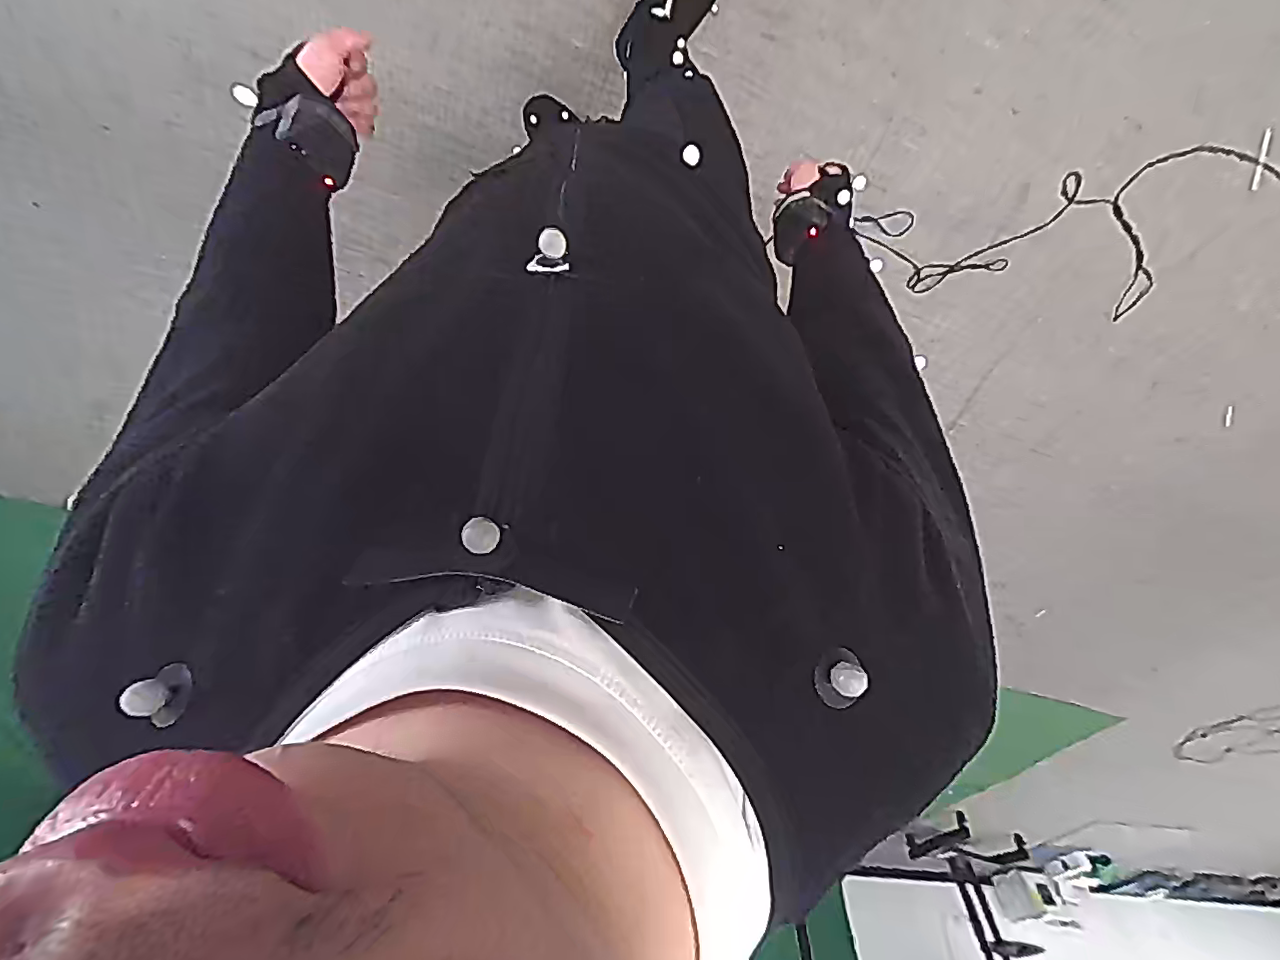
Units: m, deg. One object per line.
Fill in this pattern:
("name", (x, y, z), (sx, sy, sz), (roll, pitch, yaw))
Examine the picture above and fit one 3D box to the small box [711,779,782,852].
("small box", (0.348, 1.127, 1.818), (0.168, 0.176, 0.179), (10, 129, -13))
